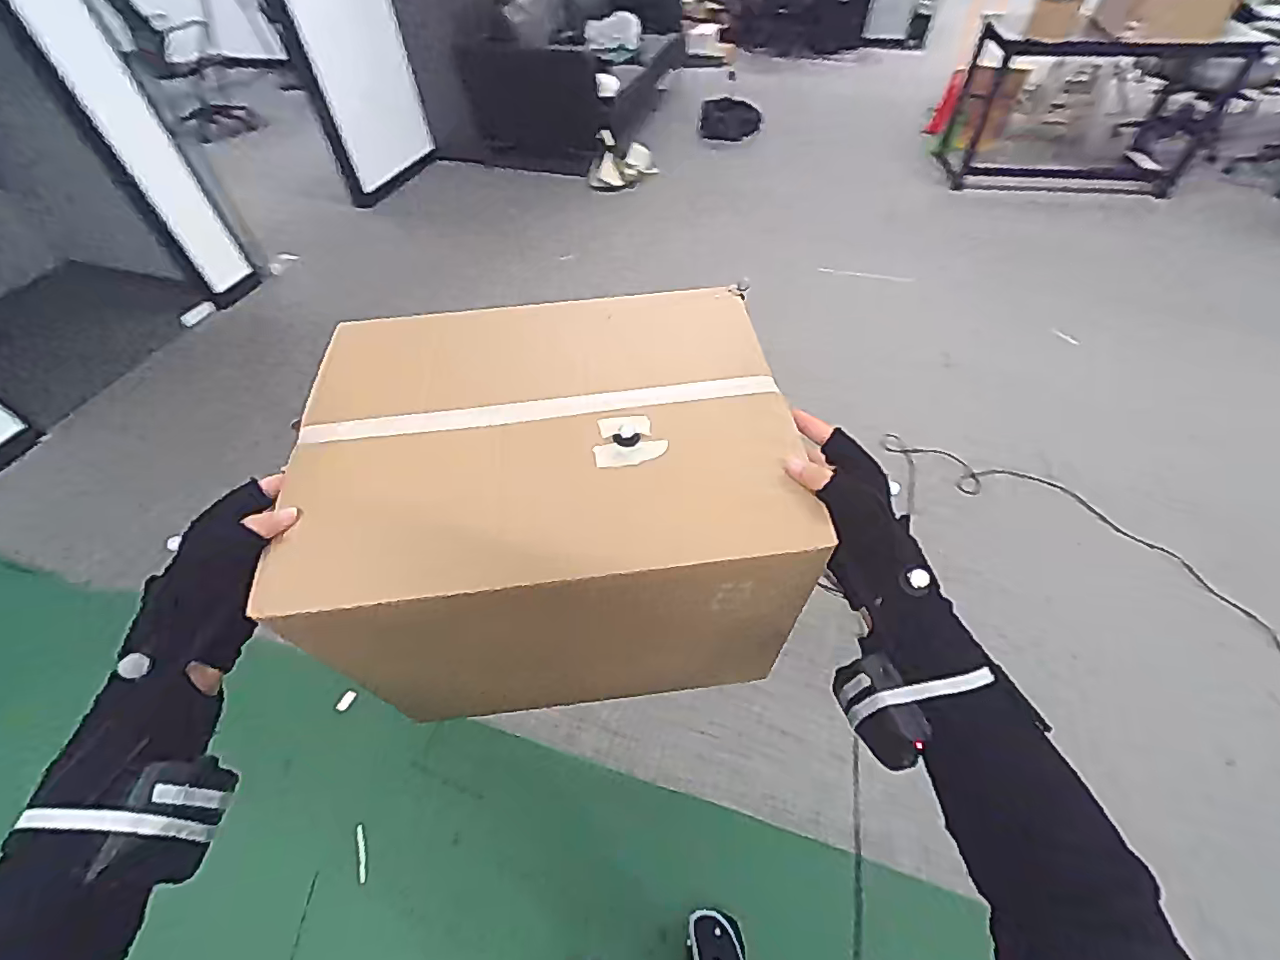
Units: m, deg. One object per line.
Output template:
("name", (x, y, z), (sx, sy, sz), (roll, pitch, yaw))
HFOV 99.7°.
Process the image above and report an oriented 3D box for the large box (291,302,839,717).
("large box", (-0.064, 0.039, 0.593), (0.408, 0.320, 0.320), (-5, 54, -3))
